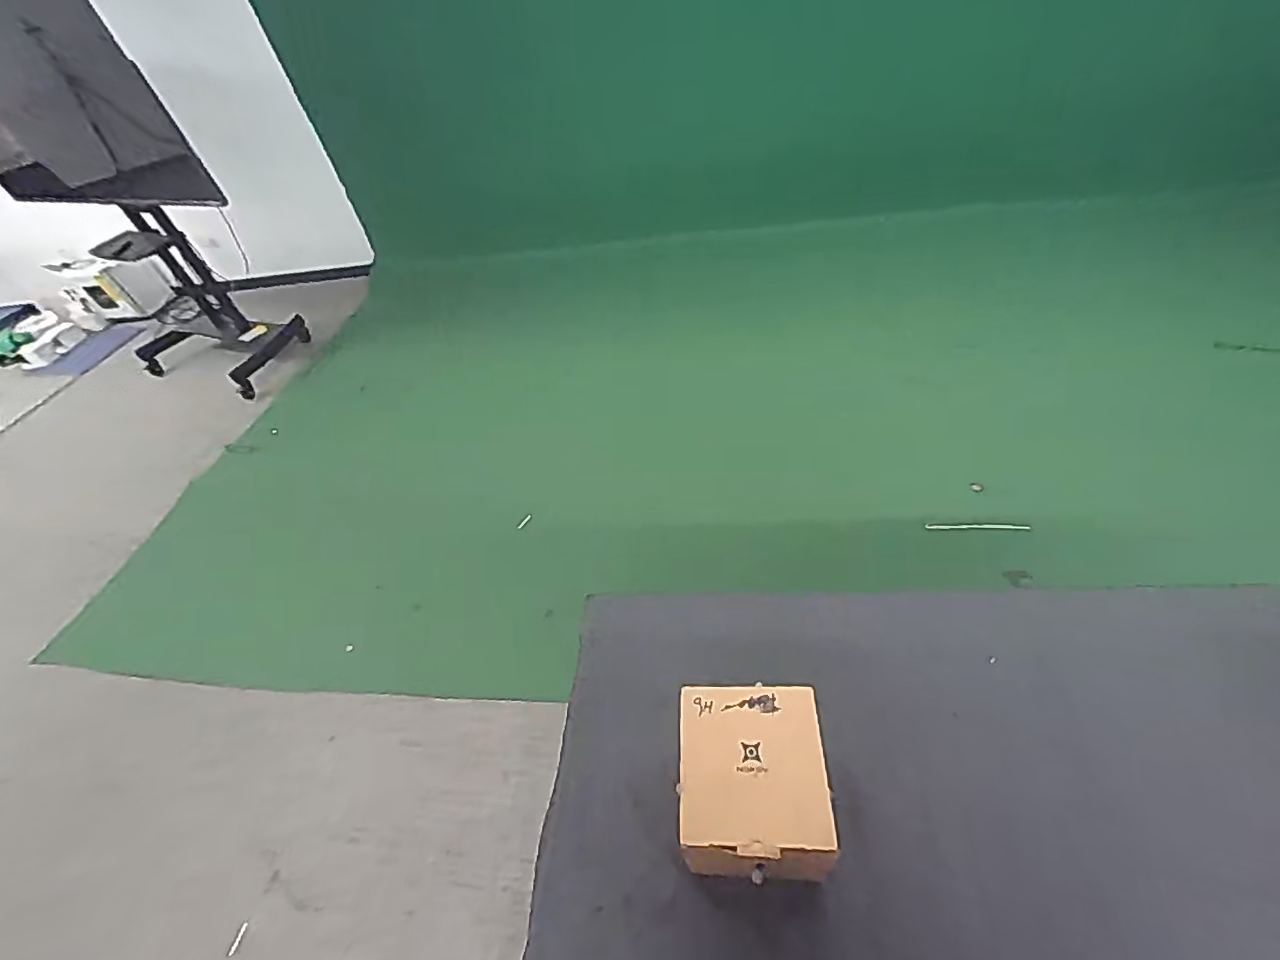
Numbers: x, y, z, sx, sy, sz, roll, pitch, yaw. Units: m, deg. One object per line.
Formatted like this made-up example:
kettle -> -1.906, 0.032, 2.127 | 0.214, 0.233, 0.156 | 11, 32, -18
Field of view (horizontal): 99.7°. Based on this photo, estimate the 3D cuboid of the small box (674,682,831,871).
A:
small box -> 0.136, 0.372, 0.678 | 0.168, 0.176, 0.179 | -3, 46, 8
